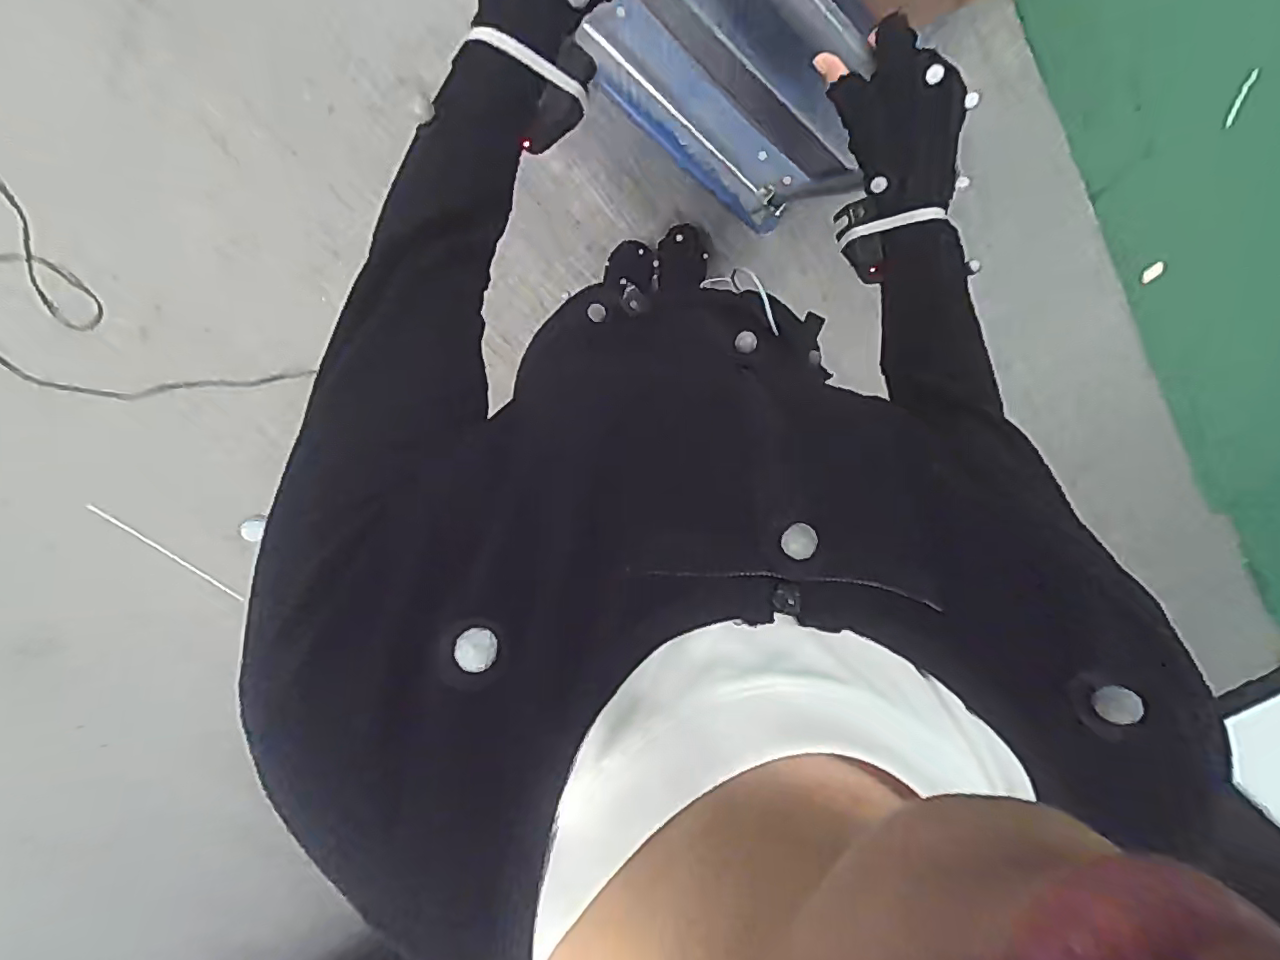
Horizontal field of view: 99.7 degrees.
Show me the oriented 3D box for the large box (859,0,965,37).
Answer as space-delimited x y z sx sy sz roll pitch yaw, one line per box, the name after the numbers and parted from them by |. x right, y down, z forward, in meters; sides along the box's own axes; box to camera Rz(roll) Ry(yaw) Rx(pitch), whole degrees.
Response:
0.400 -0.943 0.746 0.408 0.320 0.320 34 111 -16 | large box
